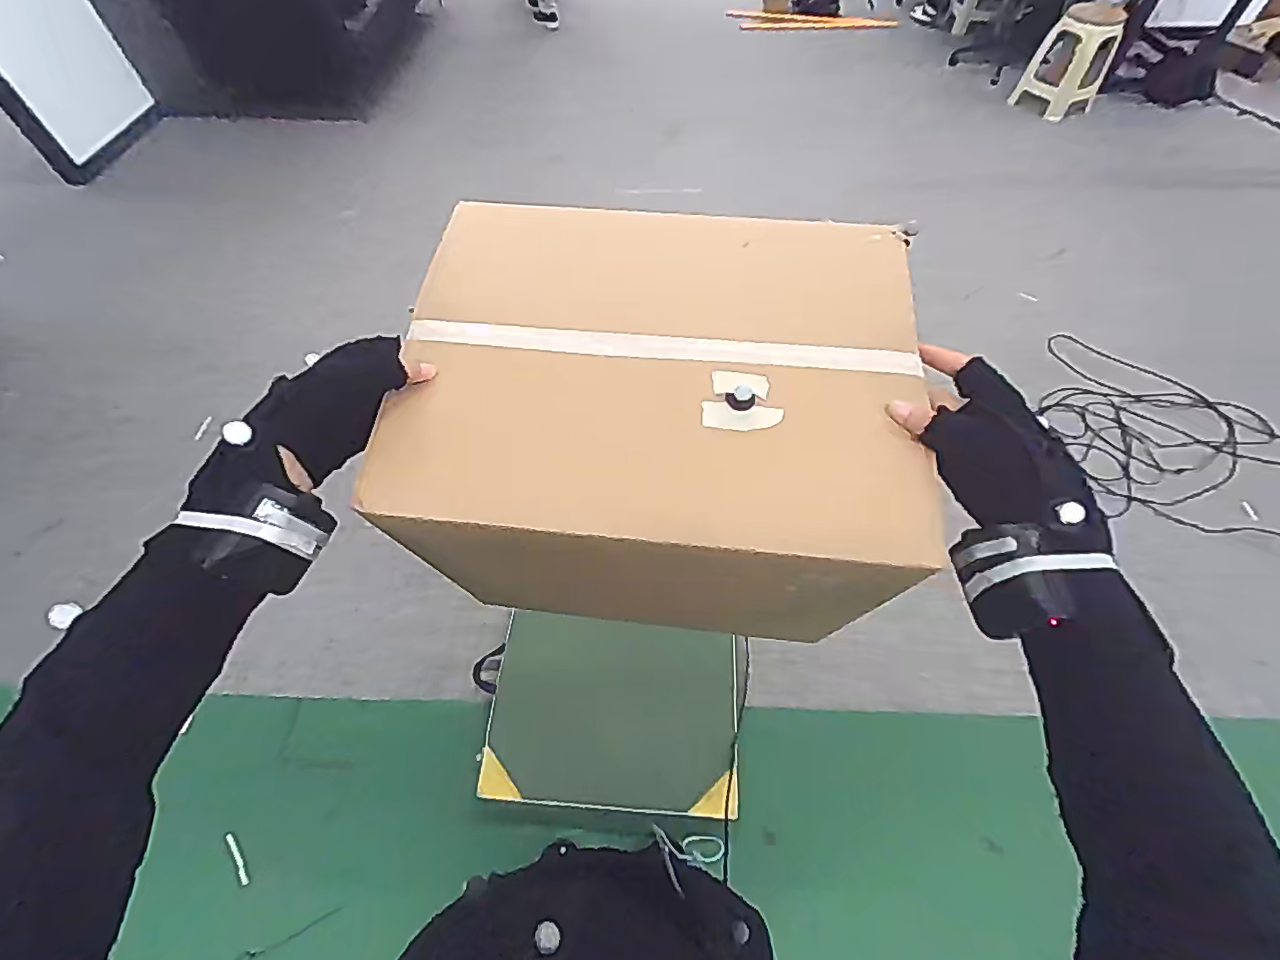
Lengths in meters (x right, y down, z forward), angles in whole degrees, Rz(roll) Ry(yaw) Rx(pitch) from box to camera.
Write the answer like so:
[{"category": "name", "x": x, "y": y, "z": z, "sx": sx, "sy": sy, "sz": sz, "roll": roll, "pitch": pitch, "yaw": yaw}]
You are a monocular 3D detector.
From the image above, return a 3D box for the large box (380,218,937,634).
[{"category": "large box", "x": 0.022, "y": -0.034, "z": 0.576, "sx": 0.408, "sy": 0.320, "sz": 0.320, "roll": 6, "pitch": 65, "yaw": 3}]
